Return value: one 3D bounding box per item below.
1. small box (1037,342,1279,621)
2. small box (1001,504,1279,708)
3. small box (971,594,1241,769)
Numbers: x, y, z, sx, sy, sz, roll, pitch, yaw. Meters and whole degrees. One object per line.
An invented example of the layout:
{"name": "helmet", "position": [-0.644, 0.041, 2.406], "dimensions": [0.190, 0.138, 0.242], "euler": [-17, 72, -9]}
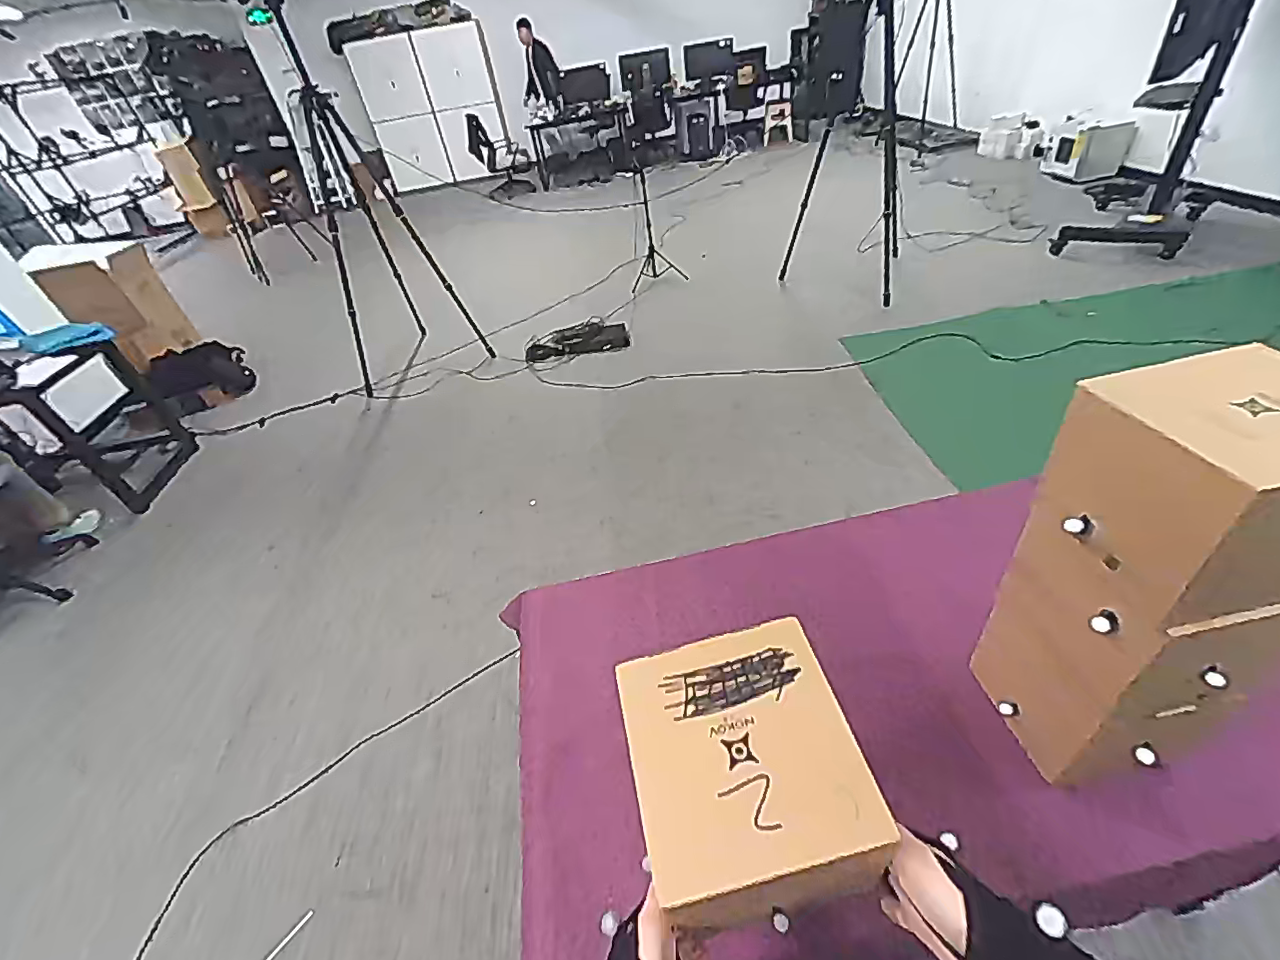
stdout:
{"name": "small box", "position": [0.514, 0.001, 0.489], "dimensions": [0.179, 0.176, 0.168], "euler": [-13, 39, 0]}
{"name": "small box", "position": [0.543, 0.126, 0.590], "dimensions": [0.168, 0.176, 0.179], "euler": [-12, 40, -1]}
{"name": "small box", "position": [0.571, 0.249, 0.697], "dimensions": [0.168, 0.176, 0.179], "euler": [-11, 41, -1]}
